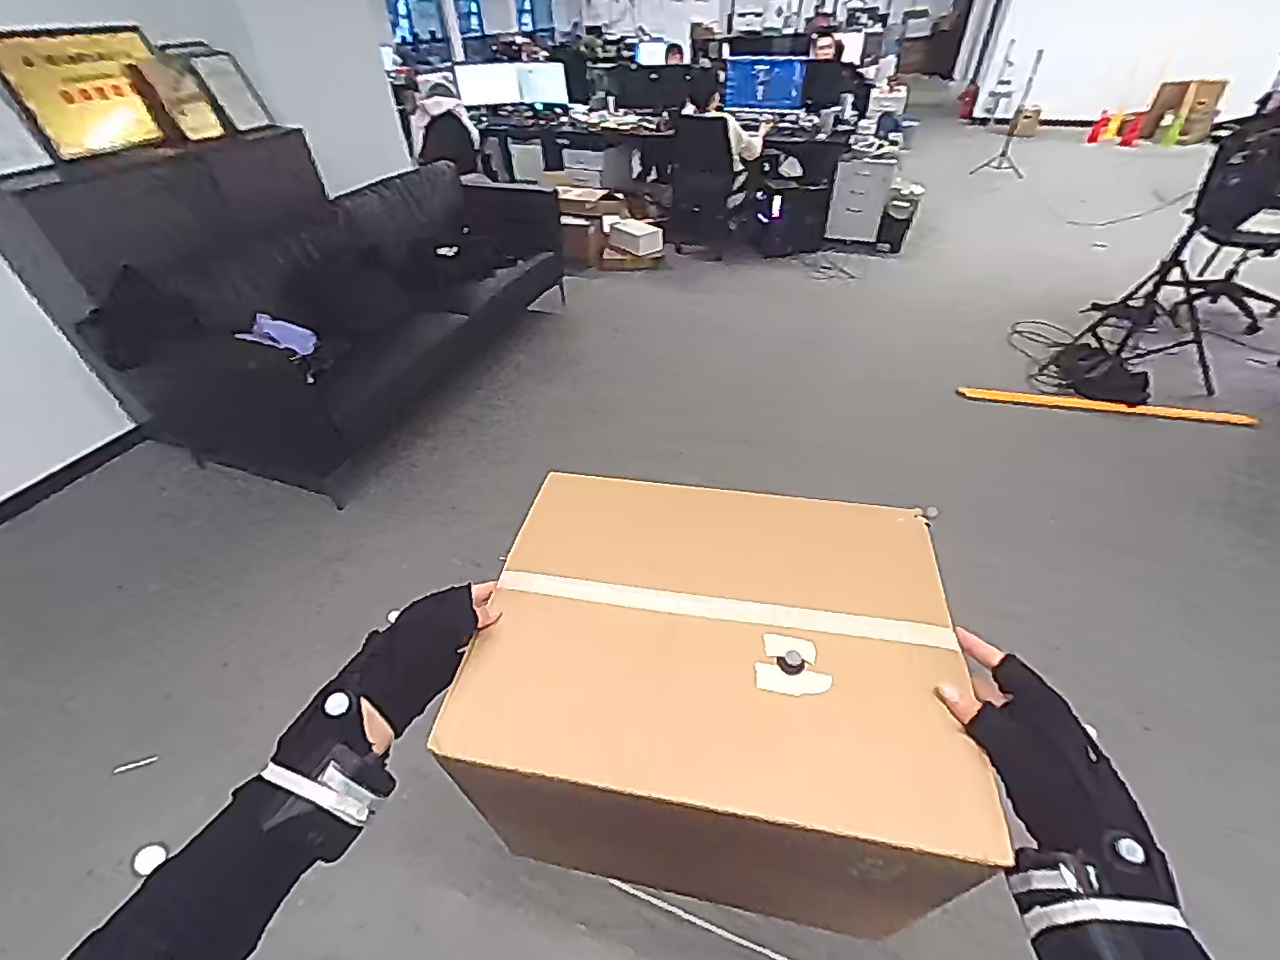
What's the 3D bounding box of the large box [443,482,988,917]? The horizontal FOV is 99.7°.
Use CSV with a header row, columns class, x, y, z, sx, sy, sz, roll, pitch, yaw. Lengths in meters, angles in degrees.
class,x,y,z,sx,sy,sz,roll,pitch,yaw
large box,0.069,0.228,0.596,0.408,0.320,0.320,5,44,9
